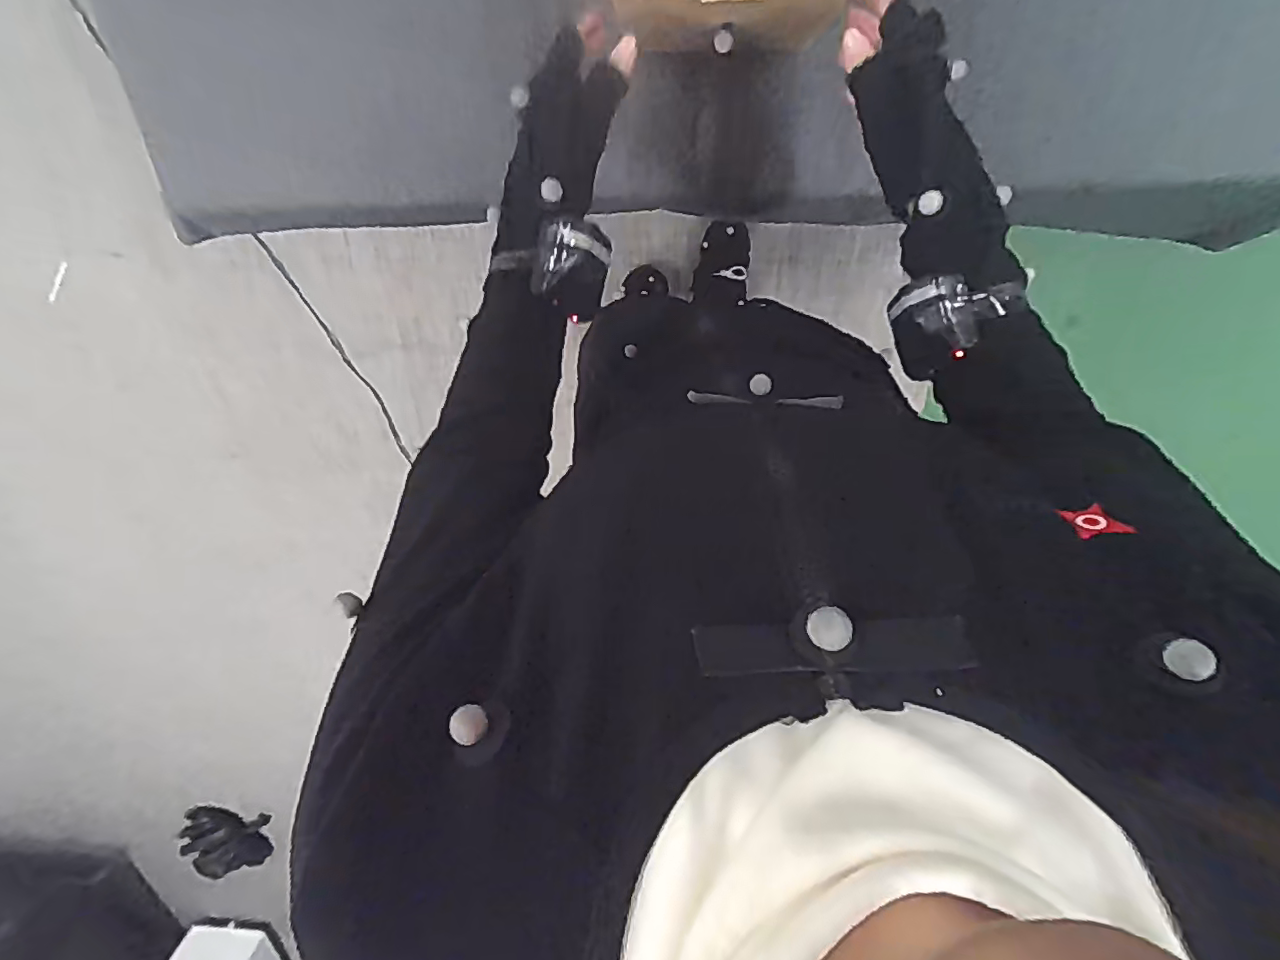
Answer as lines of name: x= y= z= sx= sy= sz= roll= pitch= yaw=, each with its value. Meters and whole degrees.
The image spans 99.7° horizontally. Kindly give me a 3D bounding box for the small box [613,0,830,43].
small box: x=0.066 y=-0.440 z=0.390 sx=0.168 sy=0.176 sz=0.179 roll=0 pitch=119 yaw=6
